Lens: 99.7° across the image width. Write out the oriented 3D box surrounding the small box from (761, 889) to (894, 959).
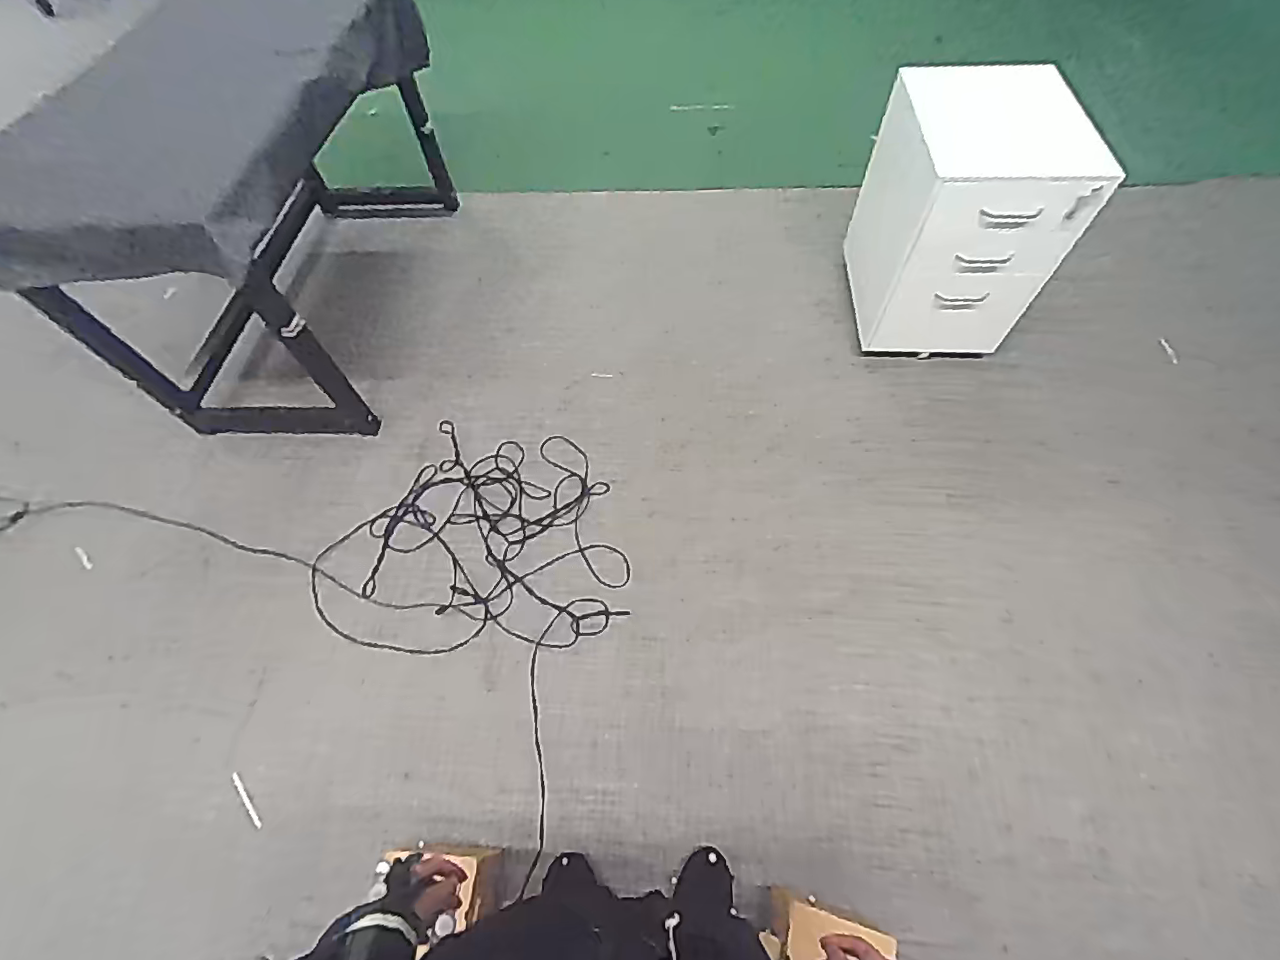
[{"bbox_3d":[0.317,0.845,0.940,0.179,0.176,0.168,13,62,10],"label":"small box"}]
